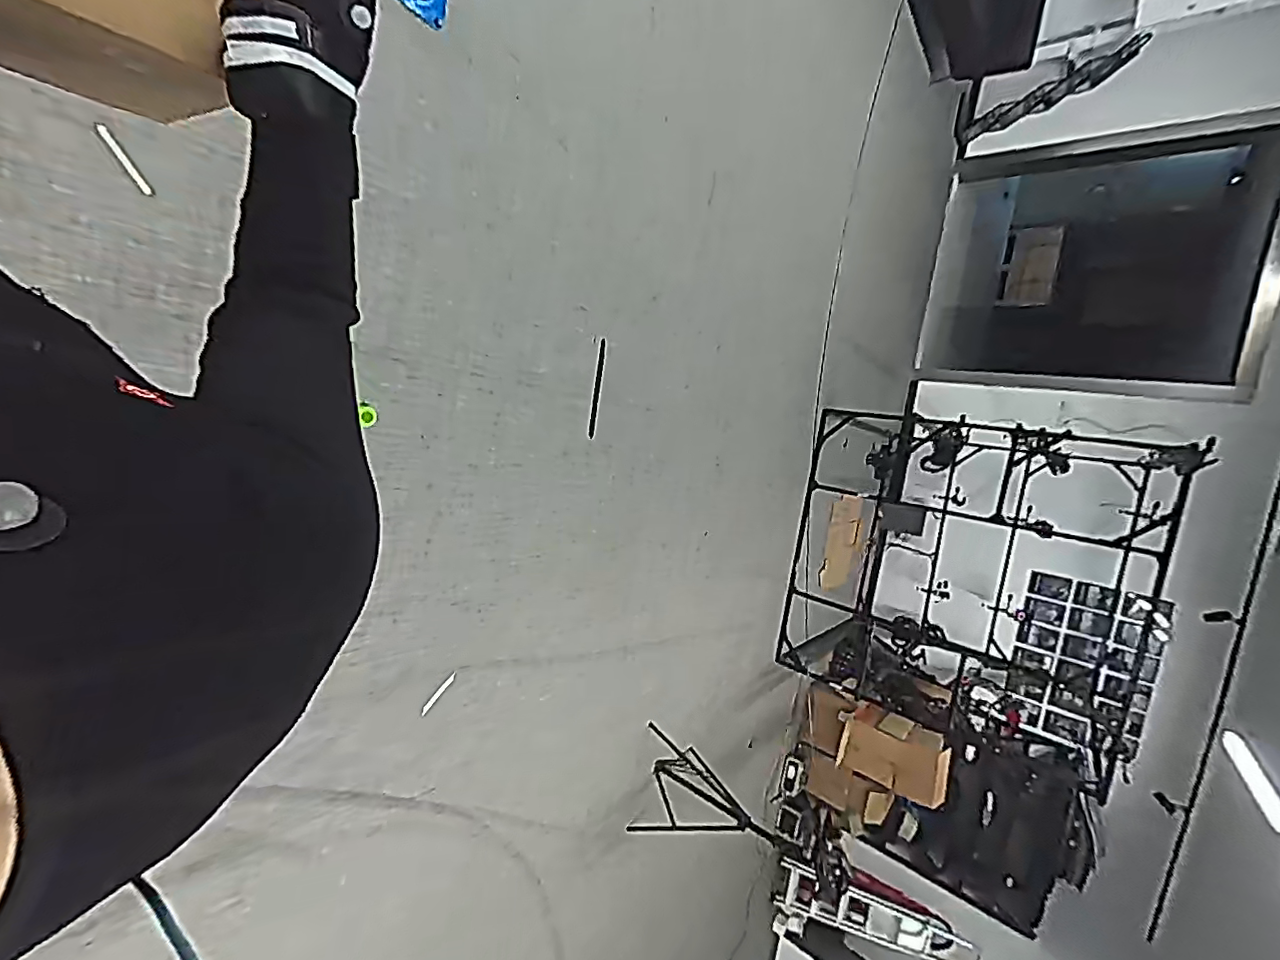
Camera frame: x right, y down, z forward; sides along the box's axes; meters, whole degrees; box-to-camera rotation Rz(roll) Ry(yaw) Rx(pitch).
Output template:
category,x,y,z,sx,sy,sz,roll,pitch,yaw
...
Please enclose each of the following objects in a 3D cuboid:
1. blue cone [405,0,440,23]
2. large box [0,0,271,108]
category,x,y,z,sx,sy,sz,roll,pitch,yaw
blue cone,-0.444,-1.268,1.258,0.192,0.380,0.193,7,95,-54
large box,-0.479,-0.468,0.289,0.408,0.320,0.320,-6,113,-52
